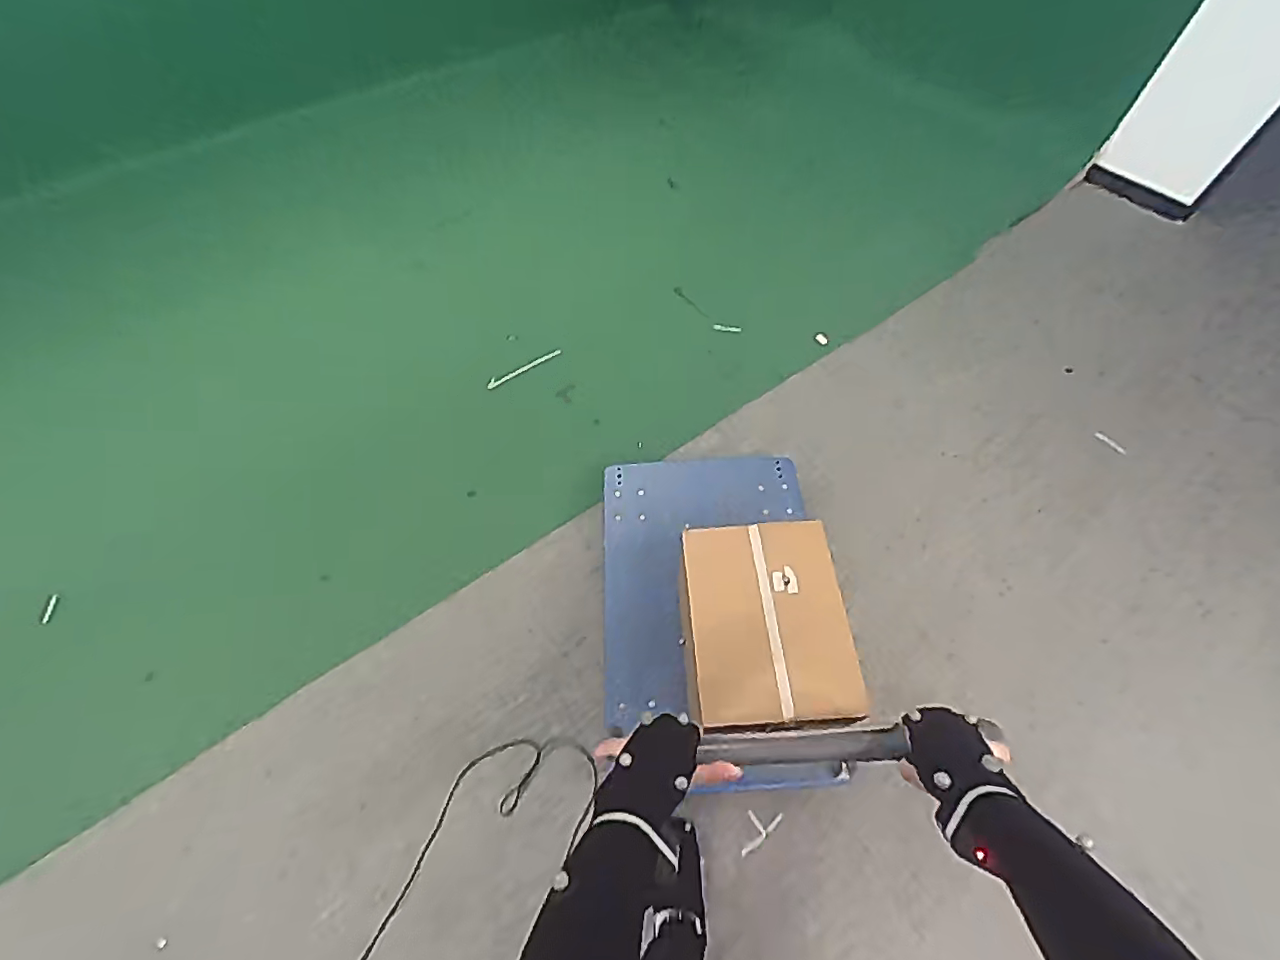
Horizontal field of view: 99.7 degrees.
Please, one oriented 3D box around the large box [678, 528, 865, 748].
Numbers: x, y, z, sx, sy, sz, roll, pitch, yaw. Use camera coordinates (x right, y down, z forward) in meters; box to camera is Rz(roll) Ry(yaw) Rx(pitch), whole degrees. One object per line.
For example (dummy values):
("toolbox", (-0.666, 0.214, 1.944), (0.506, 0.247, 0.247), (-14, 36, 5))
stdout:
("large box", (0.263, 0.367, 1.238), (0.320, 0.320, 0.408), (-3, 58, -1))
